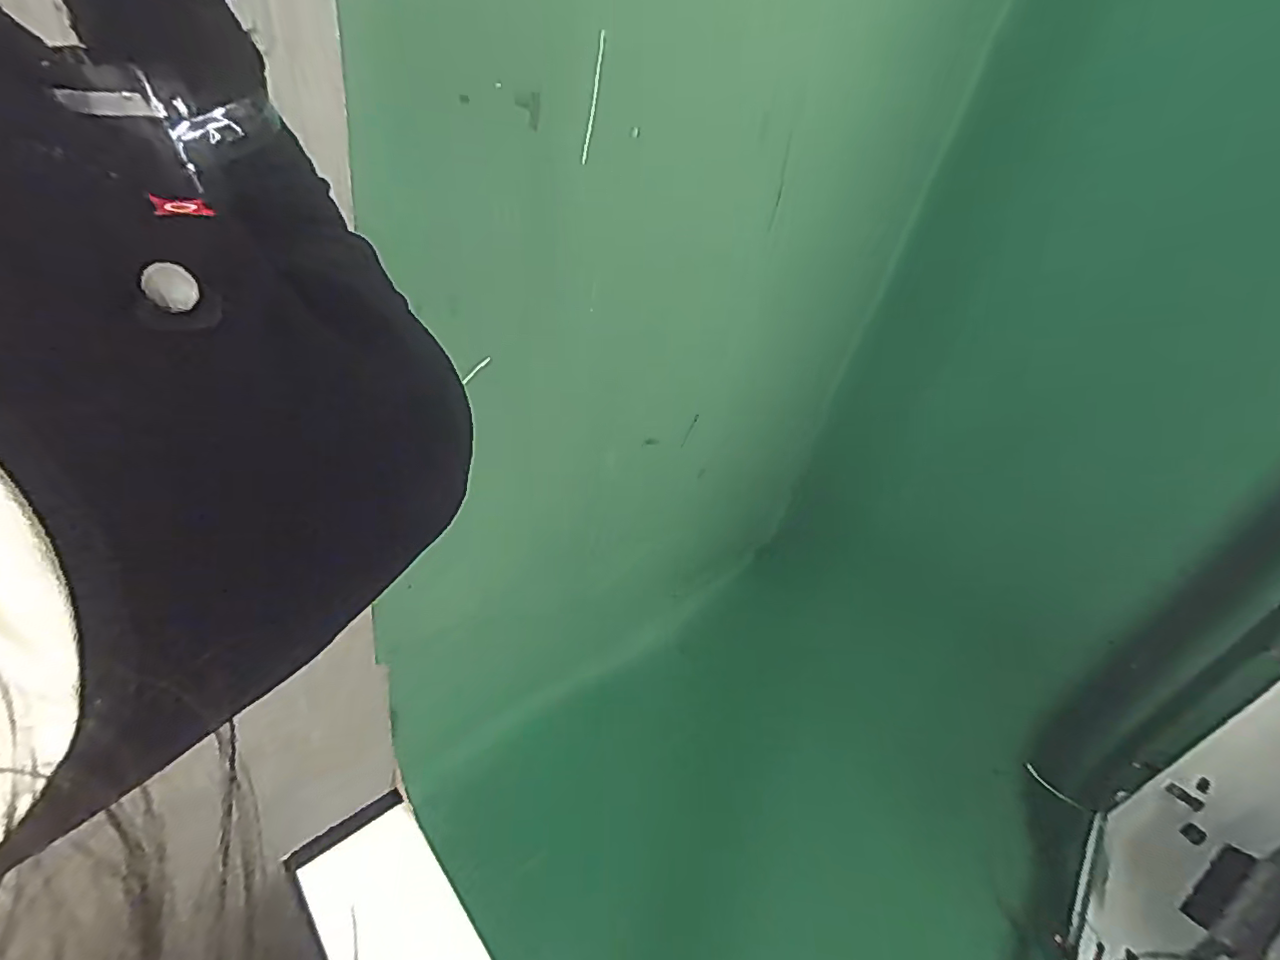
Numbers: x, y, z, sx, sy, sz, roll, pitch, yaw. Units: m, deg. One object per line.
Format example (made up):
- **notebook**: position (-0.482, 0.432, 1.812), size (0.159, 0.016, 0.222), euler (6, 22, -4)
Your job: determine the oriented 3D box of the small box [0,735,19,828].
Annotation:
- **small box**: position (-1.200, 0.513, 0.905), size (0.179, 0.176, 0.168), euler (-17, 132, -42)
